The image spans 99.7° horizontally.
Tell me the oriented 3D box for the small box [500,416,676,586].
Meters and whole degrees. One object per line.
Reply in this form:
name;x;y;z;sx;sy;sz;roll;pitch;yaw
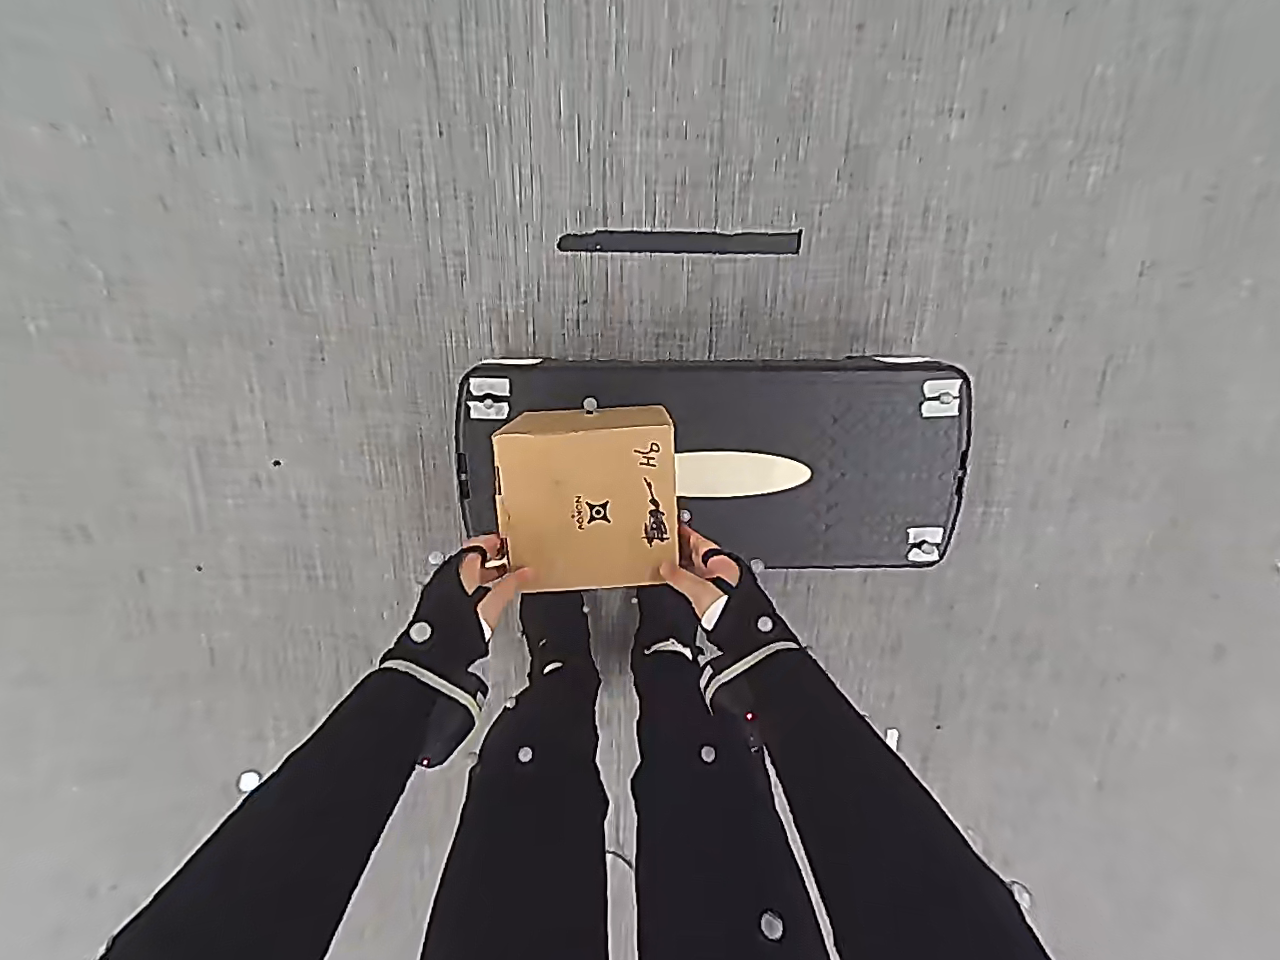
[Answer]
small box;-0.052;0.011;0.623;0.179;0.176;0.168;-3;104;0
